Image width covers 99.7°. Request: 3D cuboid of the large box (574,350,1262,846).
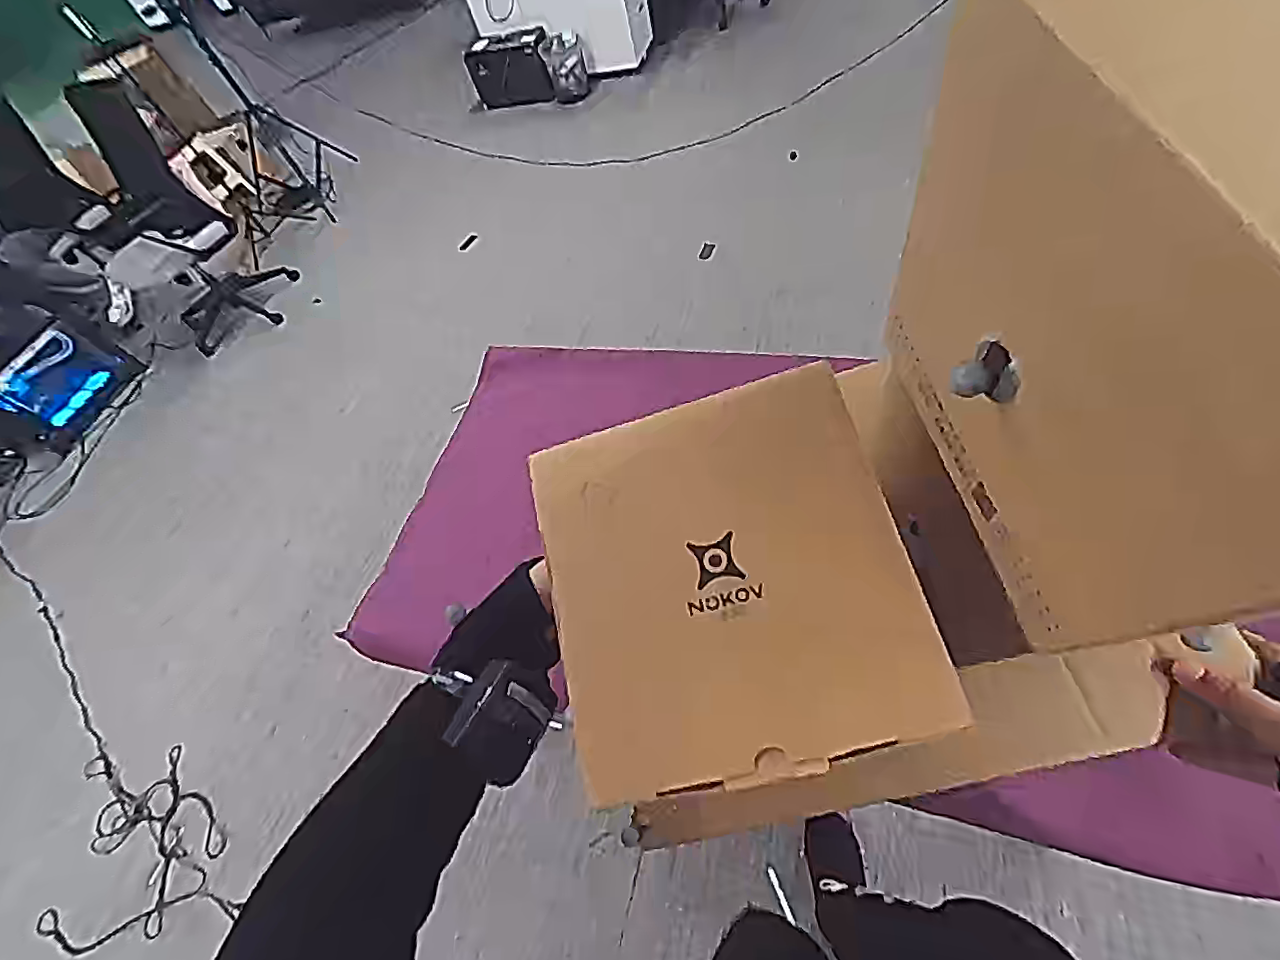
[{"bbox_3d":[0.196,0.117,0.546,0.408,0.320,0.320,-19,62,9],"label":"large box"}]
